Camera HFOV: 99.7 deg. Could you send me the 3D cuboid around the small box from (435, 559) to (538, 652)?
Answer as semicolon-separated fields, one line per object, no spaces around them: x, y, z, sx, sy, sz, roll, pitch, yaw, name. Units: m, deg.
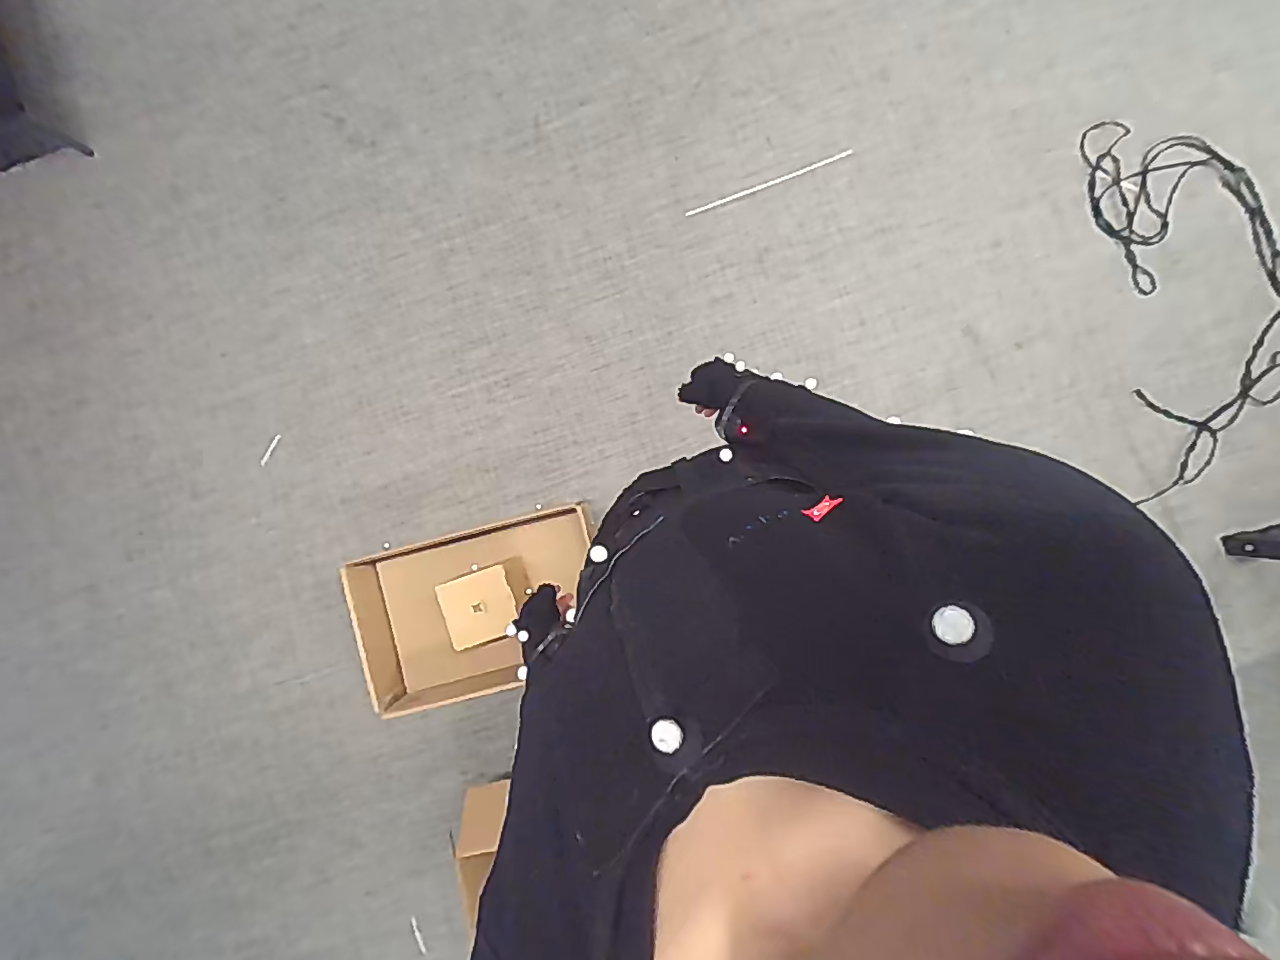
-0.378;0.308;1.355;0.179;0.176;0.168;-19;88;2;small box
